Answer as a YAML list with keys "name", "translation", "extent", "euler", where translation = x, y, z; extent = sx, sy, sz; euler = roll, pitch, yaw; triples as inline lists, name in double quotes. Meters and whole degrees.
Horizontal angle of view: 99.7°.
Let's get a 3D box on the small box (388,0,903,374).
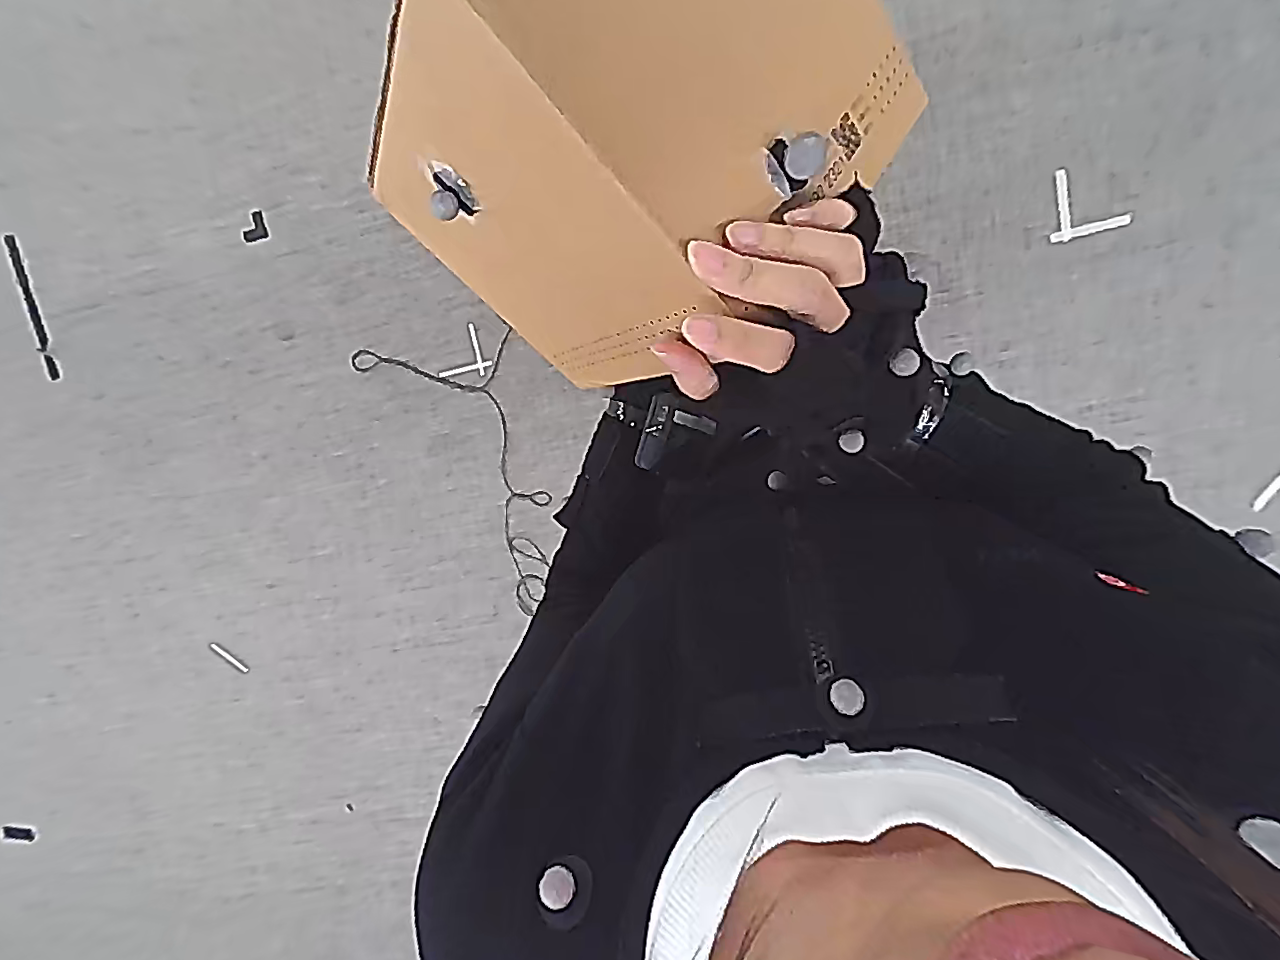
- name: "small box"
  translation: [-0.003, -0.174, 0.290]
  extent: [0.176, 0.179, 0.168]
  euler: [40, 74, -26]
